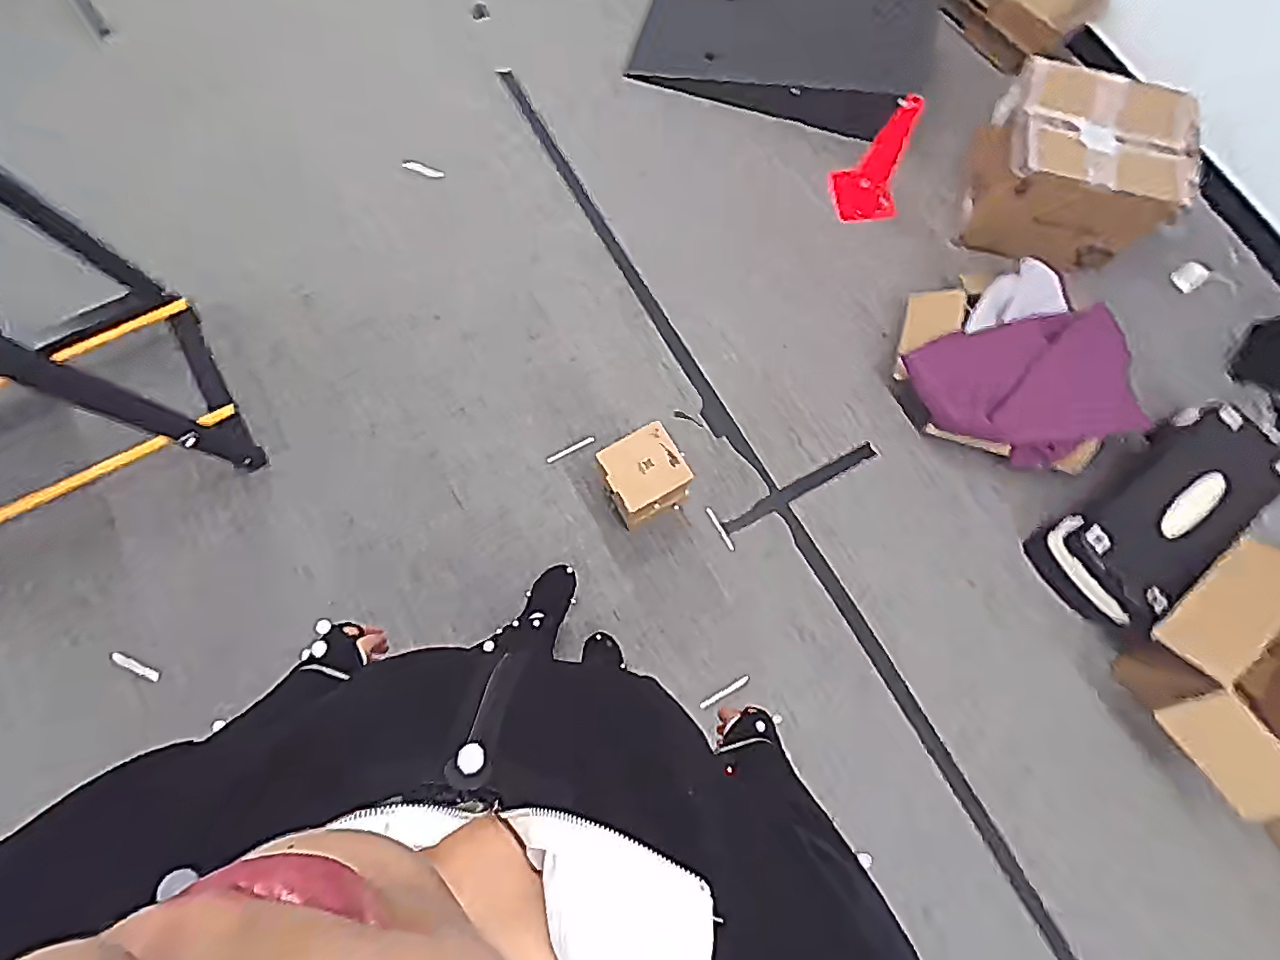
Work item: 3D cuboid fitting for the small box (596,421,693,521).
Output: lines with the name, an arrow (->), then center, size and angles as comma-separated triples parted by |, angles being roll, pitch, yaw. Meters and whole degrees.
small box -> 0.010, -0.014, 1.330 | 0.179, 0.176, 0.168 | -29, 80, -8

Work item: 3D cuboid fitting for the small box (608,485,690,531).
small box -> 0.017, 0.024, 1.489 | 0.179, 0.176, 0.168 | -27, 79, -8
